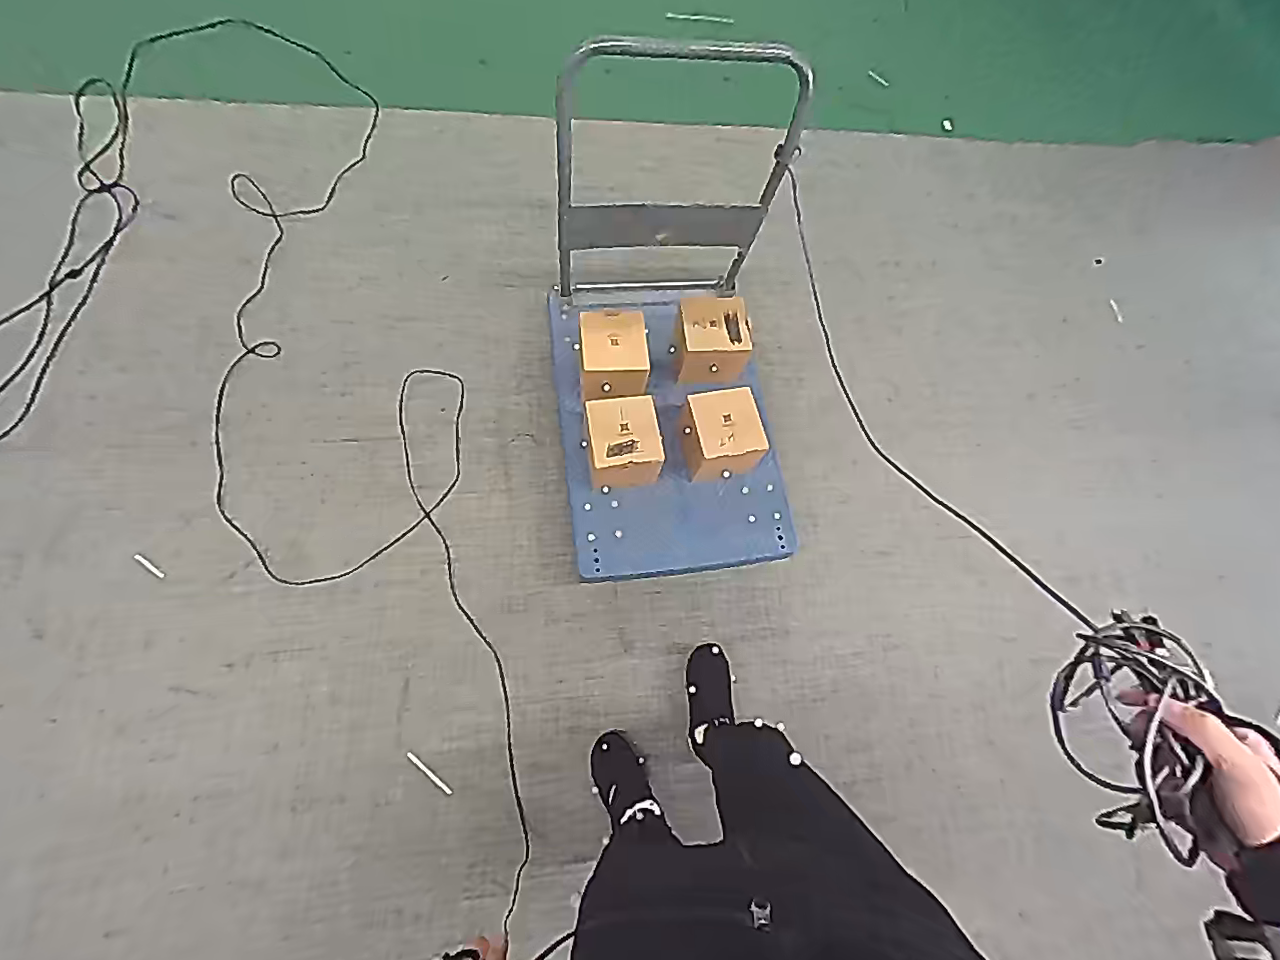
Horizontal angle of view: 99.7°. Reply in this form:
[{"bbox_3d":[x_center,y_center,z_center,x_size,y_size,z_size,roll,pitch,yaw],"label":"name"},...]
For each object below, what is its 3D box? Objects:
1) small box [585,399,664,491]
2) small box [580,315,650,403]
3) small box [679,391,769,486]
[{"bbox_3d":[-0.045,-0.080,1.340,0.168,0.176,0.179,-7,70,-11],"label":"small box"},{"bbox_3d":[-0.071,-0.312,1.425,0.168,0.176,0.179,-3,70,-9],"label":"small box"},{"bbox_3d":[0.205,-0.104,1.381,0.168,0.176,0.179,-9,71,-10],"label":"small box"}]
